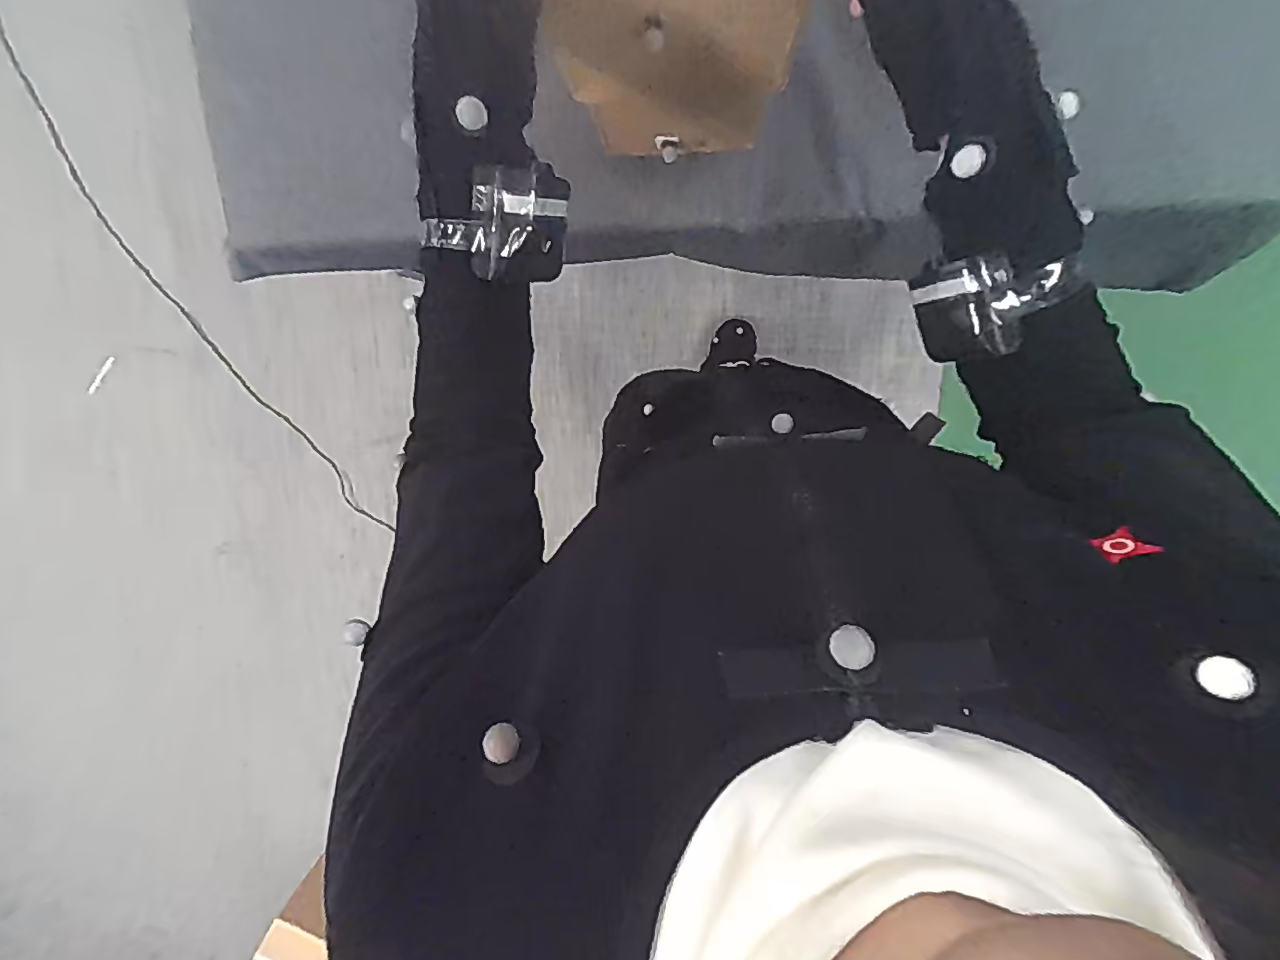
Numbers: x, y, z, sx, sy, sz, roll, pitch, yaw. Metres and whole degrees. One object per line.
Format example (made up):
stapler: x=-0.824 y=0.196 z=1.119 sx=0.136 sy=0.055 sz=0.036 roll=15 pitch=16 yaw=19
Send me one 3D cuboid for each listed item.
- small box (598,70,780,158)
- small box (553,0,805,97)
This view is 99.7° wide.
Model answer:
small box: x=0.040 y=-0.436 z=0.512 sx=0.168 sy=0.176 sz=0.179 roll=-2 pitch=103 yaw=7
small box: x=0.024 y=-0.388 z=0.358 sx=0.179 sy=0.176 sz=0.168 roll=-2 pitch=99 yaw=5
